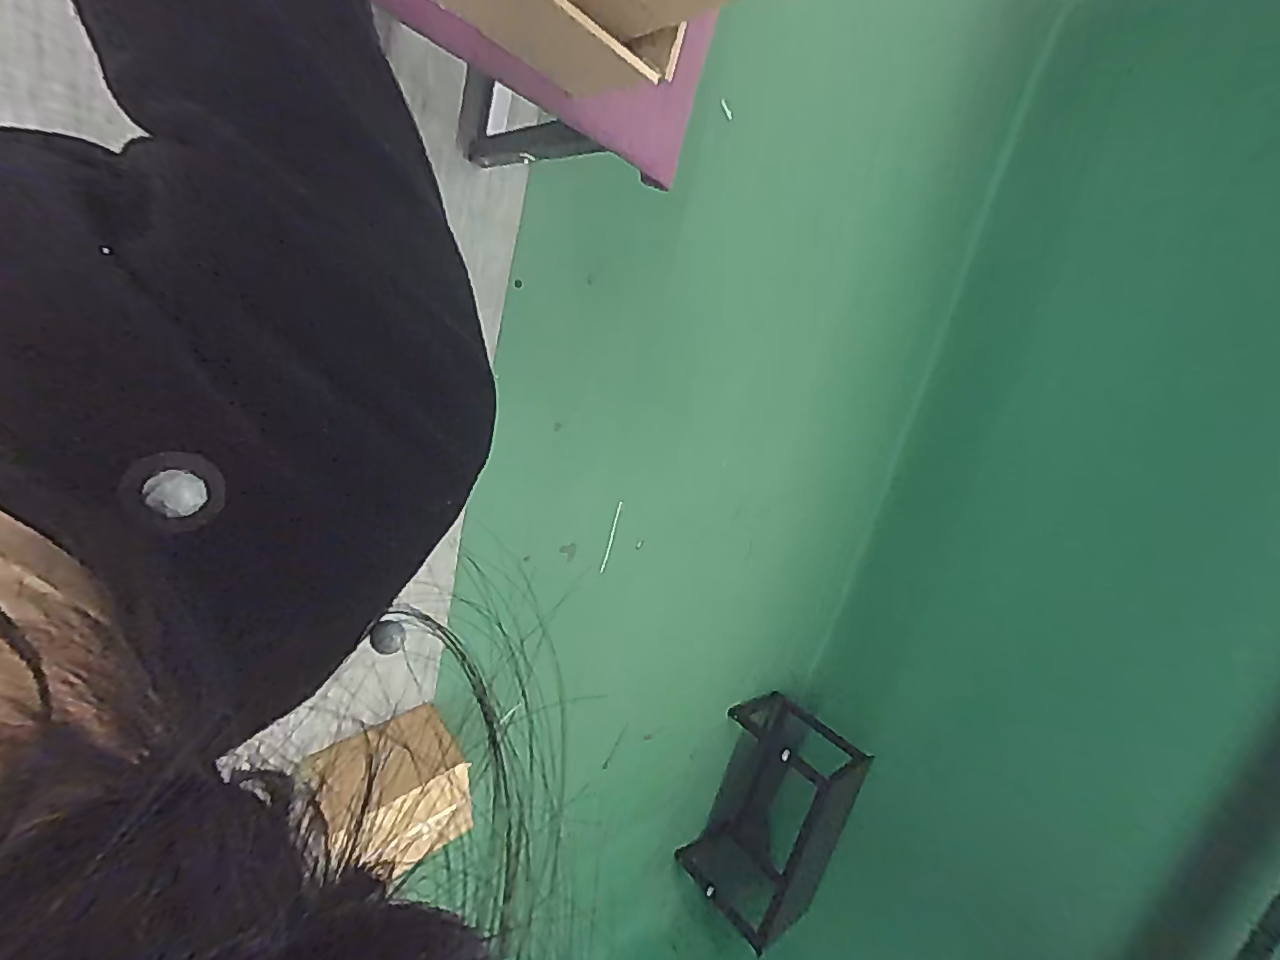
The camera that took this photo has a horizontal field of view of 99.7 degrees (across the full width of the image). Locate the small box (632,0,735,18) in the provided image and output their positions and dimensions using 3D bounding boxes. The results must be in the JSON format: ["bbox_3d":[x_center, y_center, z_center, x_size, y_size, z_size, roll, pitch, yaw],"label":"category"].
[{"bbox_3d":[0.040,-0.567,0.486,0.179,0.176,0.168,8,104,-43],"label":"small box"}]

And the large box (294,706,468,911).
[{"bbox_3d":[-0.812,1.012,1.717,0.408,0.320,0.320,-16,120,-40],"label":"large box"}]
